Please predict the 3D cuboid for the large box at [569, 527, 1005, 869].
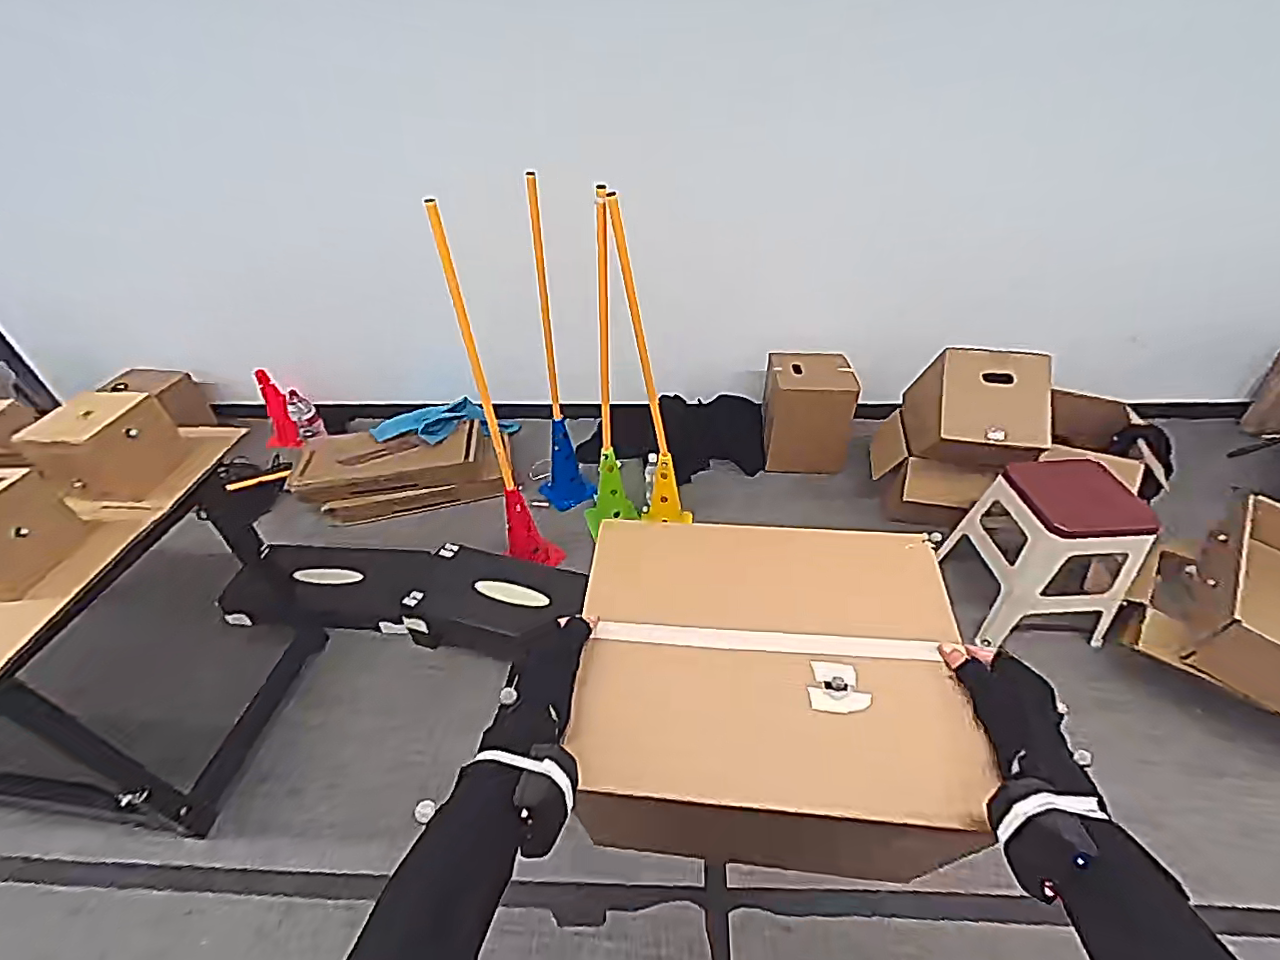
[{"bbox_3d":[0.146,0.281,0.701,0.408,0.320,0.320,2,48,6],"label":"large box"}]
